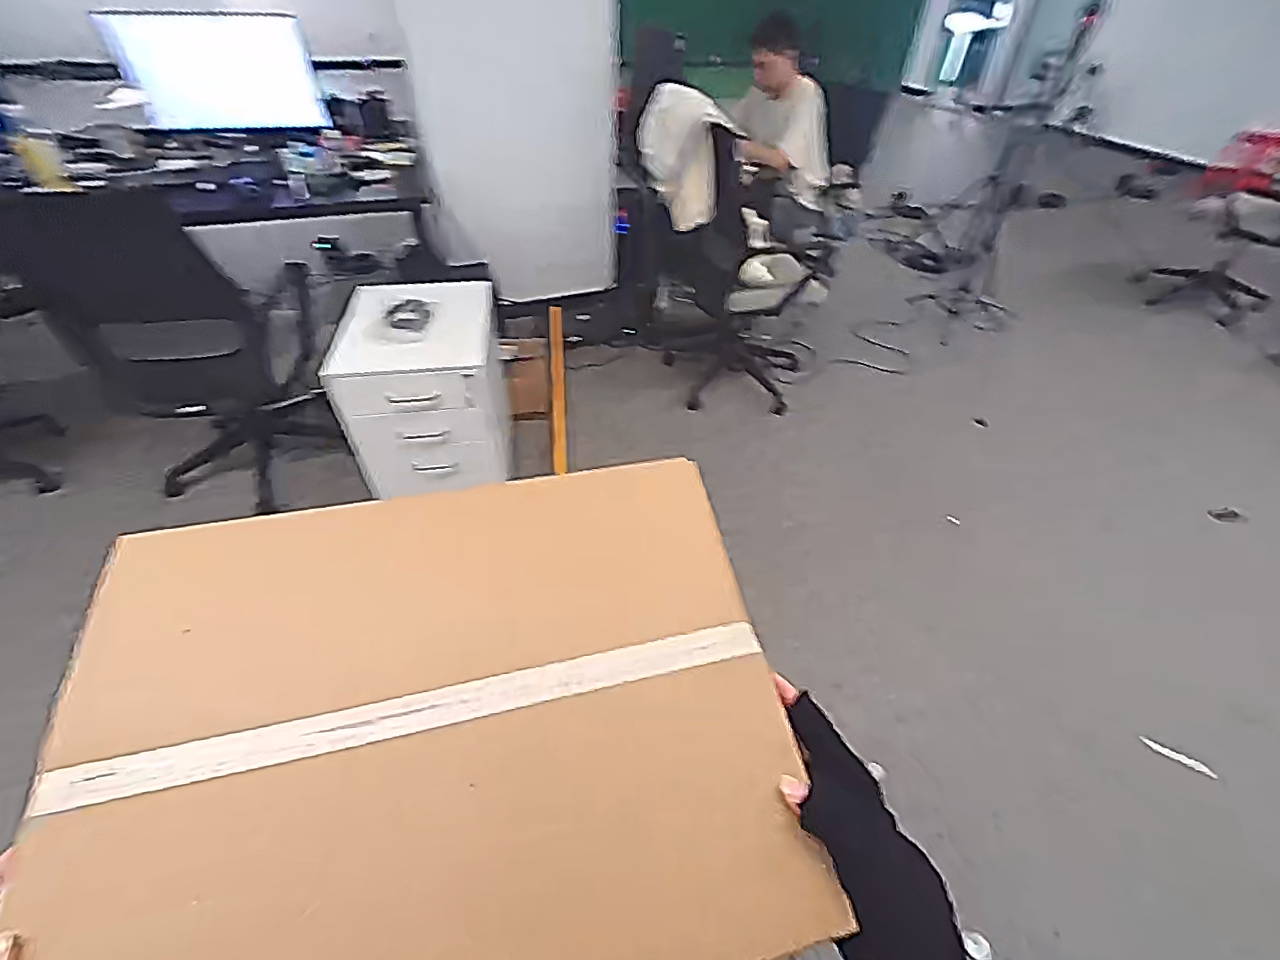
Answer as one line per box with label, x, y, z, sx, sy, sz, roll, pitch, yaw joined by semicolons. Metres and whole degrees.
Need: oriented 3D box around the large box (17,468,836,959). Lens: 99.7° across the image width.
large box;-0.128;0.226;0.454;0.408;0.320;0.320;-9;57;-11
